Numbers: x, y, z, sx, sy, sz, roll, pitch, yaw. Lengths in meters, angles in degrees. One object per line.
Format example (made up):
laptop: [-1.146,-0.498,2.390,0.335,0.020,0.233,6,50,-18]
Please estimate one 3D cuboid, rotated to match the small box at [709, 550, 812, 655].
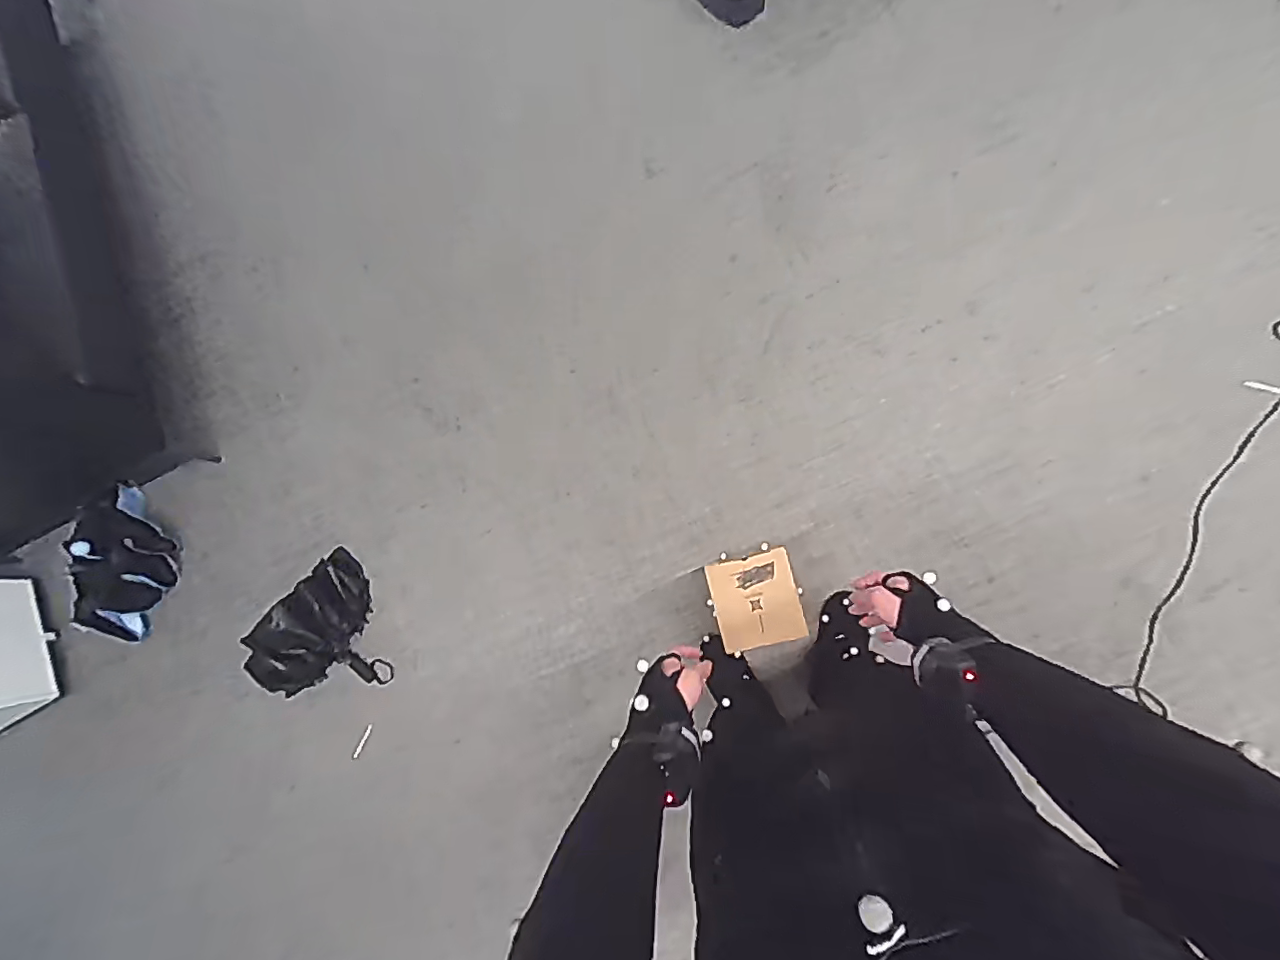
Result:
small box: [0.247,0.251,1.131,0.168,0.176,0.179,-15,80,9]
